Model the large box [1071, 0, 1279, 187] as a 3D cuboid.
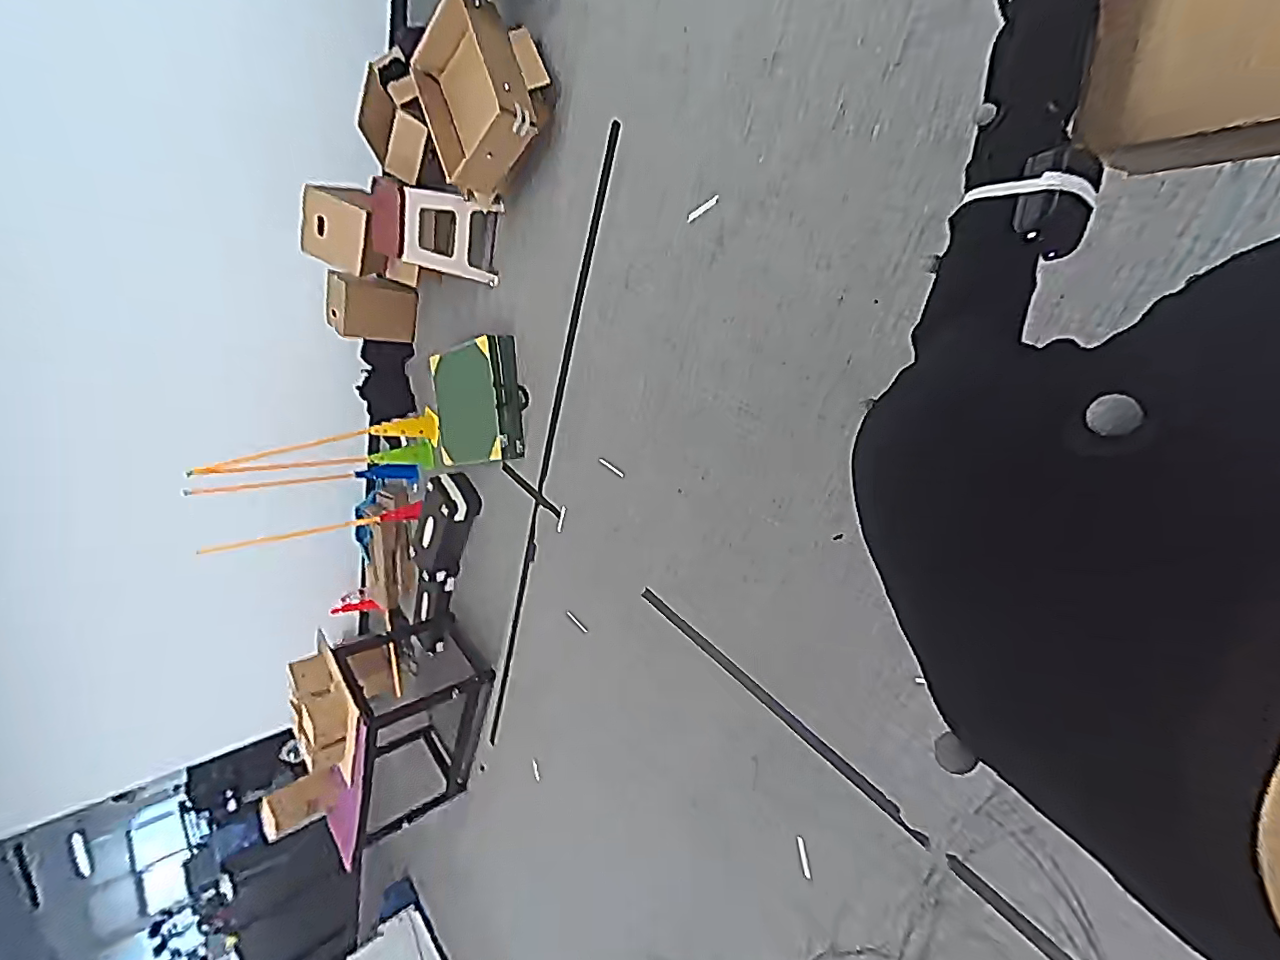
[{"bbox_3d":[0.582,-0.414,0.358,0.408,0.320,0.320,14,118,44],"label":"large box"}]
